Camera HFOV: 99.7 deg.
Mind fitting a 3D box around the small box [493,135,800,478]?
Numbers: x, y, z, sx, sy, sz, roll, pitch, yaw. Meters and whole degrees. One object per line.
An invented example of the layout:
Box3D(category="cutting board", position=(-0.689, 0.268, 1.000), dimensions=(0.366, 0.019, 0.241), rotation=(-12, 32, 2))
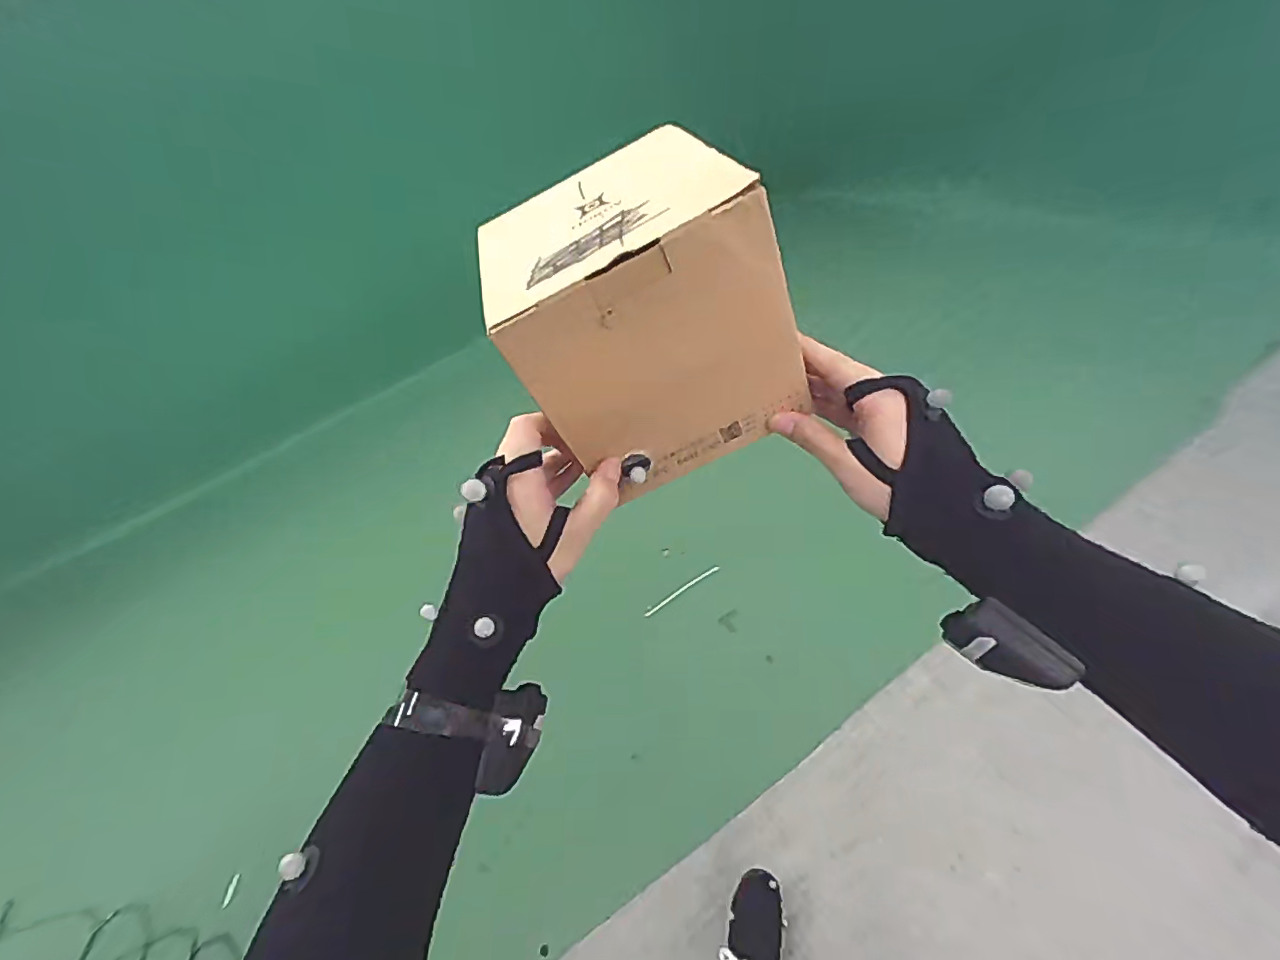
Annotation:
Box3D(category="small box", position=(0.004, -0.124, 0.417), dimensions=(0.168, 0.176, 0.179), rotation=(-25, 42, 6))
